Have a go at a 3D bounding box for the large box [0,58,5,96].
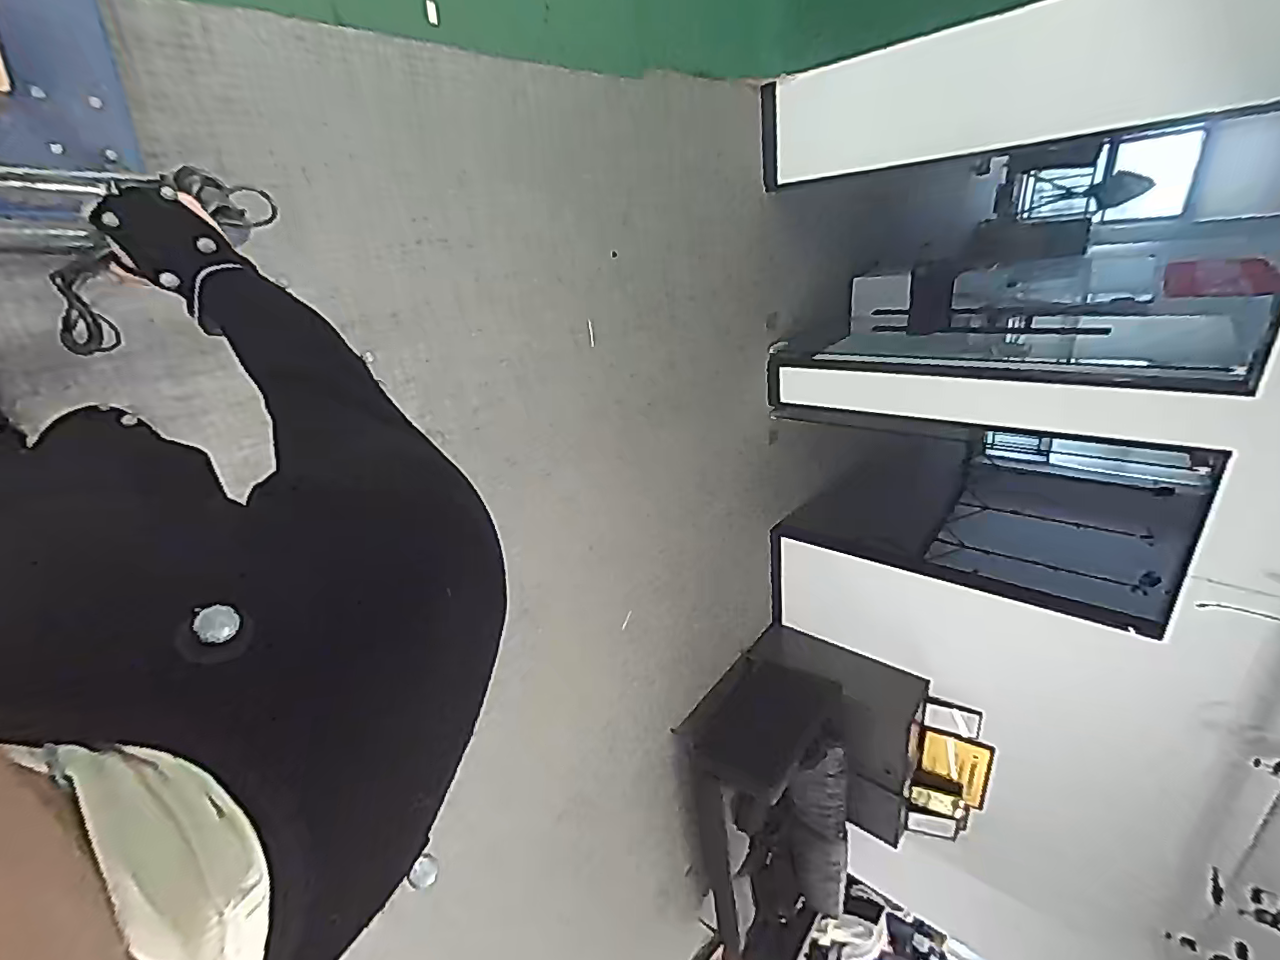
[{"bbox_3d":[-1.012,-0.685,0.598,0.320,0.320,0.408,-21,122,-46],"label":"large box"}]
